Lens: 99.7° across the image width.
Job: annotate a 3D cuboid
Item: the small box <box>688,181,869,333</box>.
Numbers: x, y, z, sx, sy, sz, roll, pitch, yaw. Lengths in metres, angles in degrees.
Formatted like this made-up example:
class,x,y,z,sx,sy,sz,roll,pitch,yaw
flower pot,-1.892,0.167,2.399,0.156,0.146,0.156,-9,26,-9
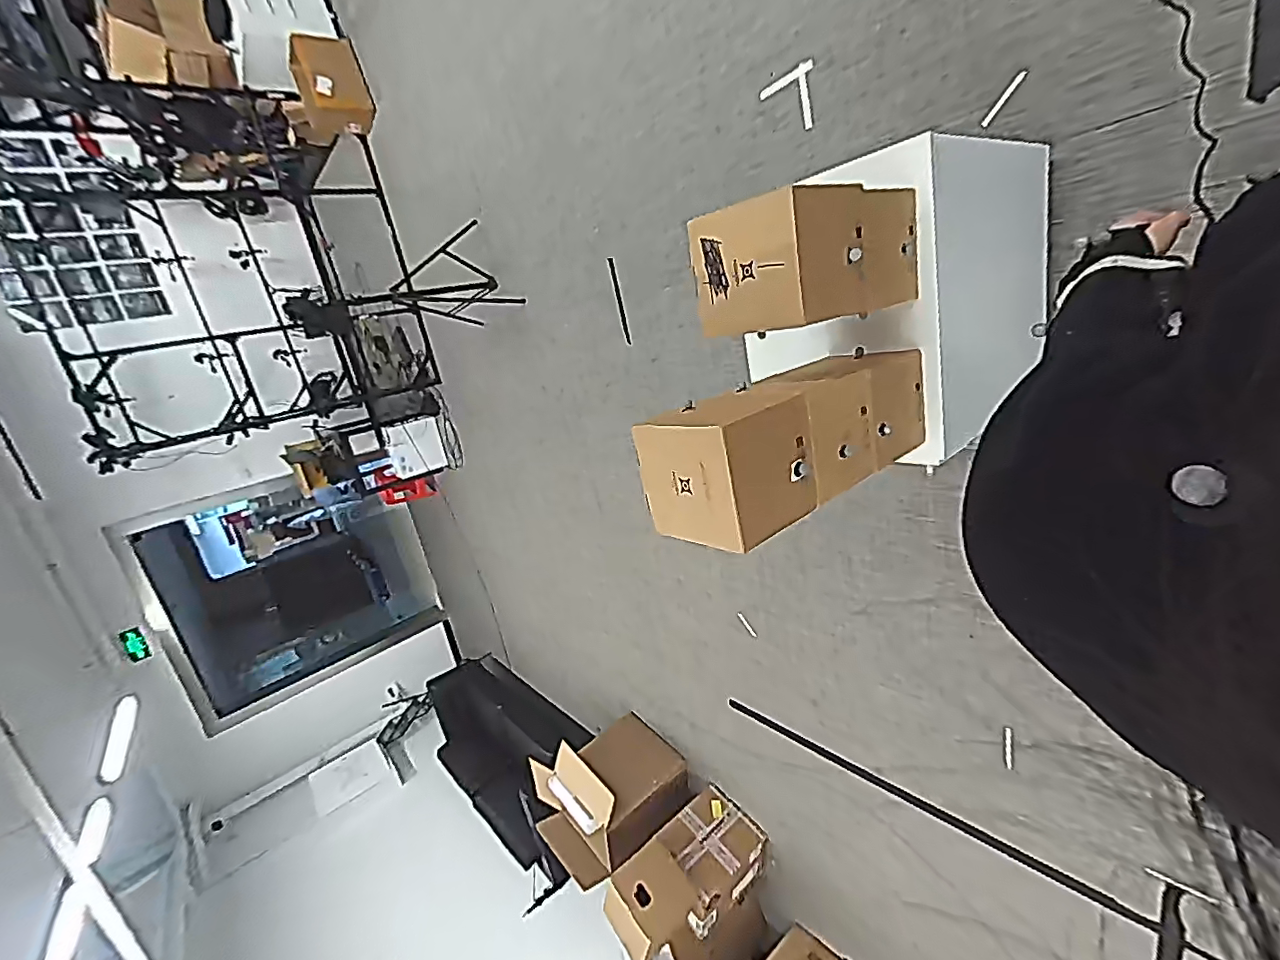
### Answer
class,x,y,z,sx,sy,sz,roll,pitch,yaw
small box,0.196,-0.307,0.760,0.179,0.176,0.168,11,118,49

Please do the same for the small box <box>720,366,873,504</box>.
class,x,y,z,sx,sy,sz,roll,pitch,yaw
small box,0.241,-0.076,0.837,0.179,0.176,0.168,8,115,52

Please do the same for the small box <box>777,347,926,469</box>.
class,x,y,z,sx,sy,sz,roll,pitch,yaw
small box,0.364,-0.128,0.931,0.179,0.176,0.168,10,117,52

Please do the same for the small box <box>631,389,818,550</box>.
class,x,y,z,sx,sy,sz,roll,pitch,yaw
small box,0.117,-0.024,0.746,0.179,0.176,0.168,7,115,51
